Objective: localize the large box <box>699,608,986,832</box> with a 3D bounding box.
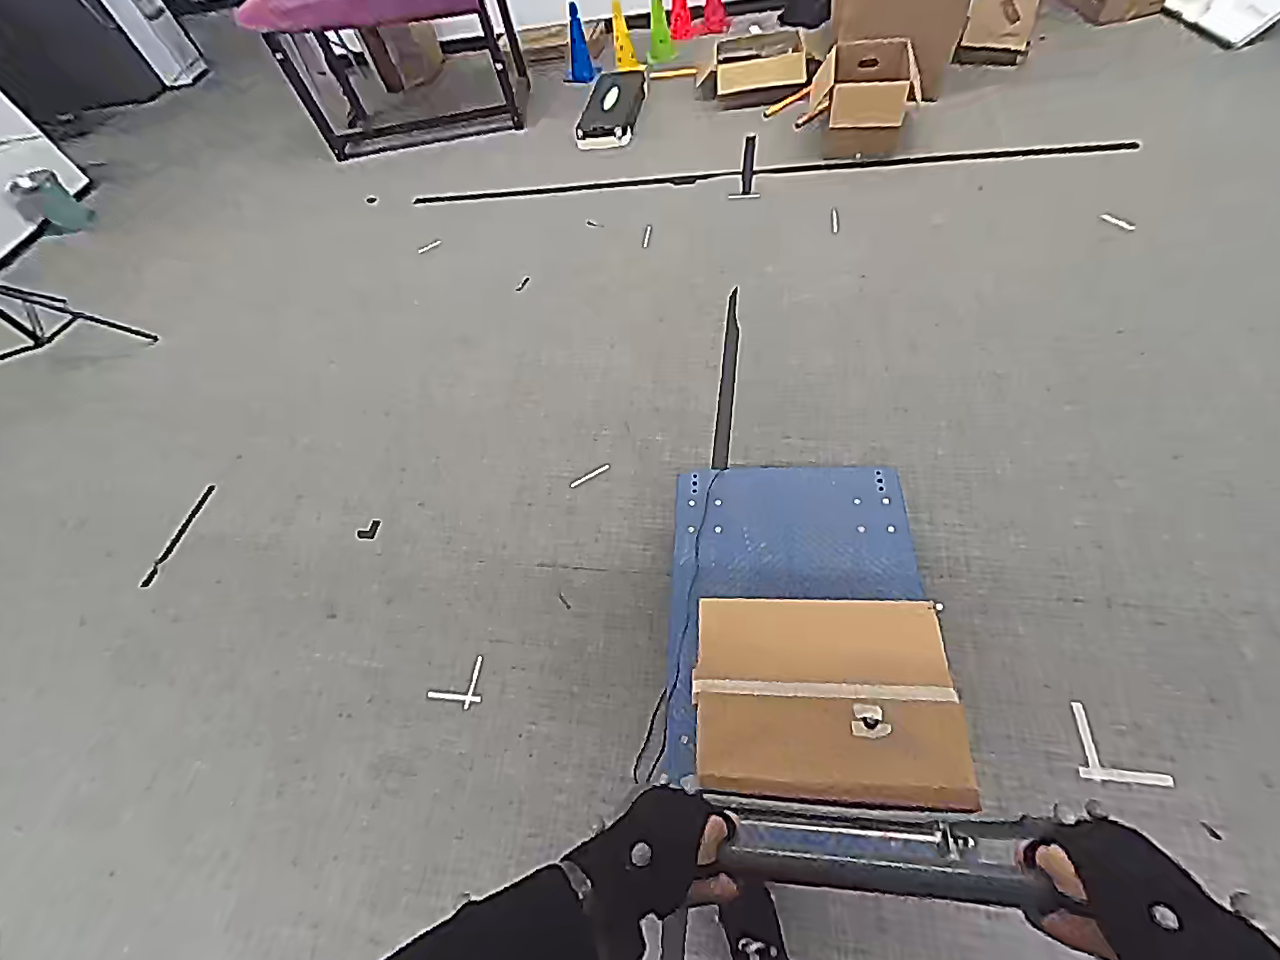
[{"bbox_3d":[0.314,0.437,0.979,0.408,0.320,0.320,-1,56,9],"label":"large box"}]
